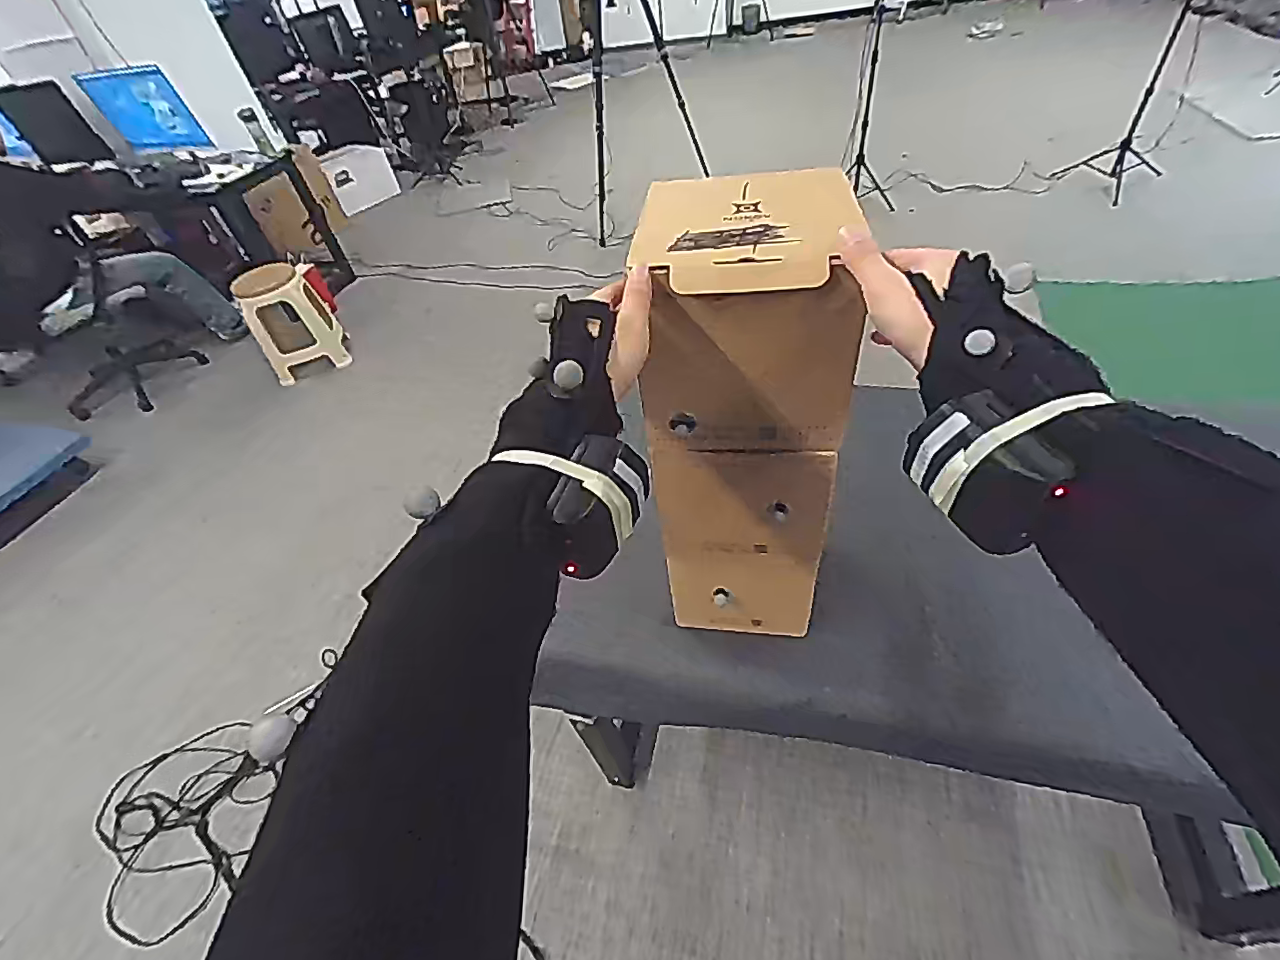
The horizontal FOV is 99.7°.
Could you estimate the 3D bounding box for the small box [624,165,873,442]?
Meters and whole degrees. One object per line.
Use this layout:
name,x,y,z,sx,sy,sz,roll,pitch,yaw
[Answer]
small box,0.089,-0.147,0.467,0.168,0.176,0.179,1,46,9

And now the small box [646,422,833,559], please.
small box,0.107,-0.032,0.584,0.168,0.176,0.179,2,46,10

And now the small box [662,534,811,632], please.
small box,0.128,0.078,0.701,0.168,0.176,0.179,2,47,12
